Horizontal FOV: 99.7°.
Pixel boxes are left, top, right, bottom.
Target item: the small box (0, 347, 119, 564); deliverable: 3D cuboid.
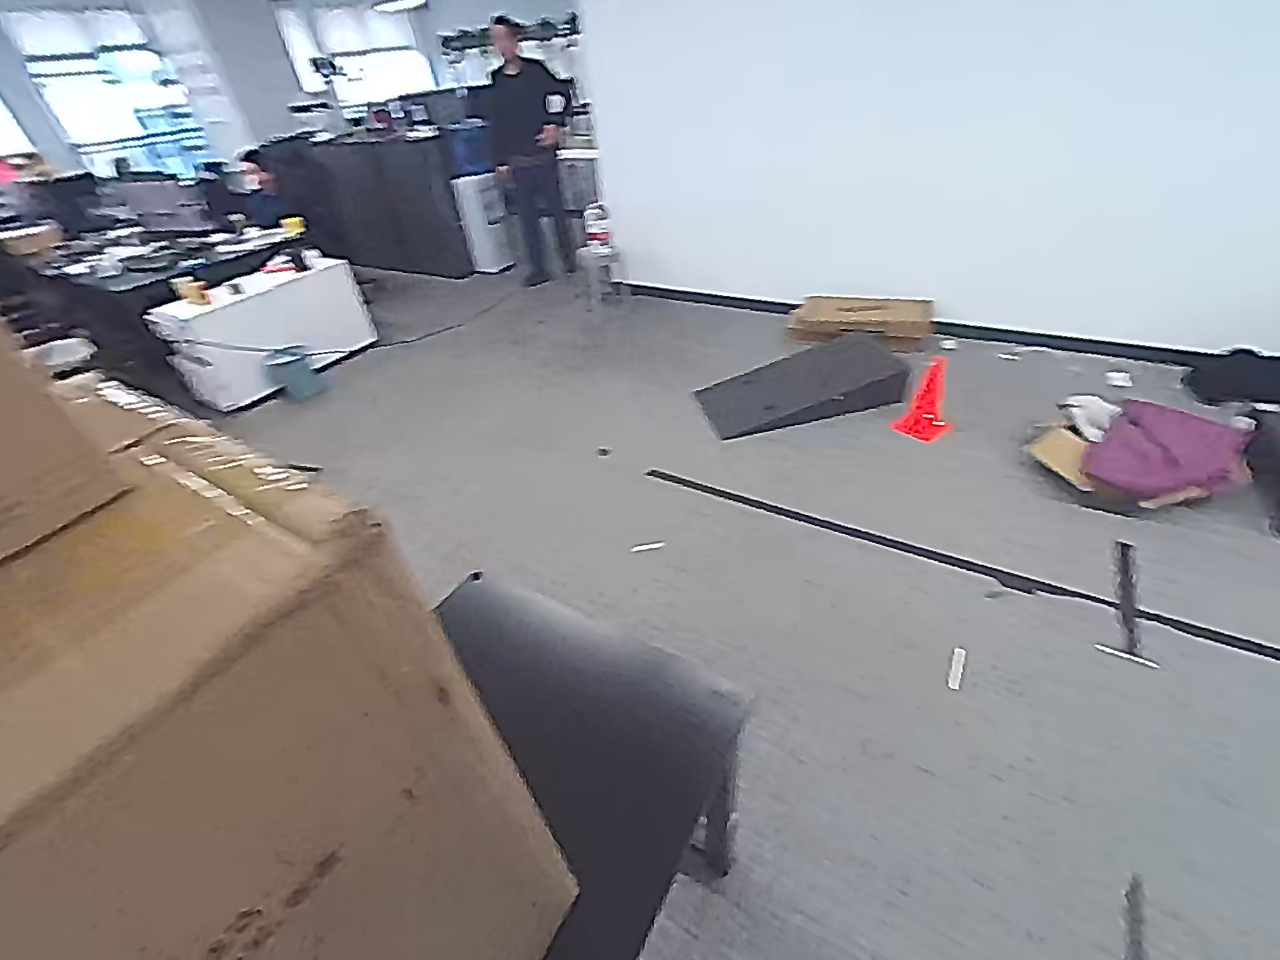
[{"bbox_3d":[-0.406,-0.026,0.238,0.179,0.176,0.168,14,44,25],"label":"small box"}]
